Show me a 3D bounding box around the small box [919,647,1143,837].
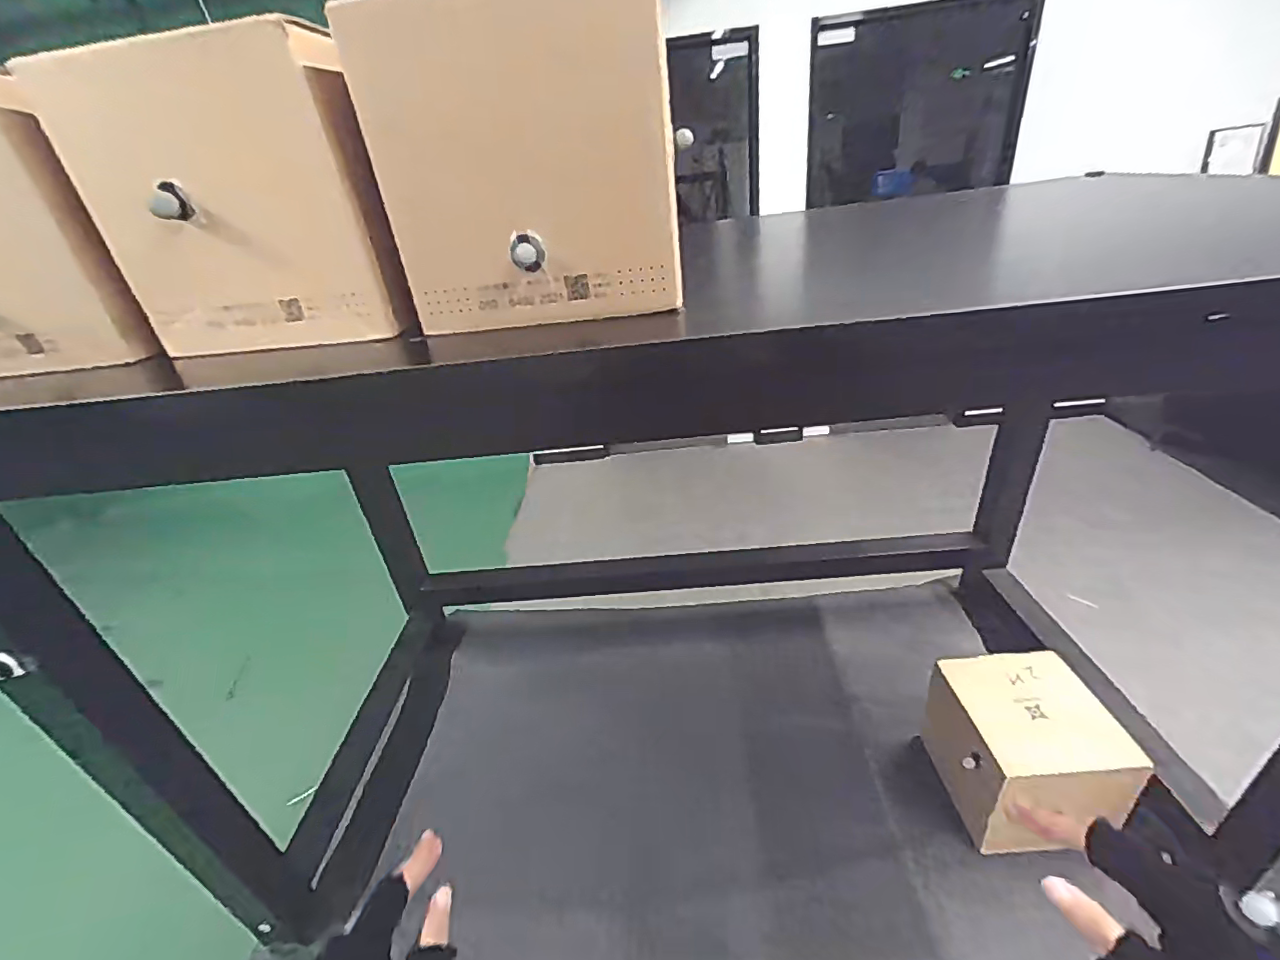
[{"bbox_3d":[0.506,0.357,0.734,0.168,0.176,0.179,-6,29,3],"label":"small box"}]

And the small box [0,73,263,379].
[{"bbox_3d":[-0.429,-0.183,0.405,0.168,0.176,0.179,-5,31,3],"label":"small box"}]
